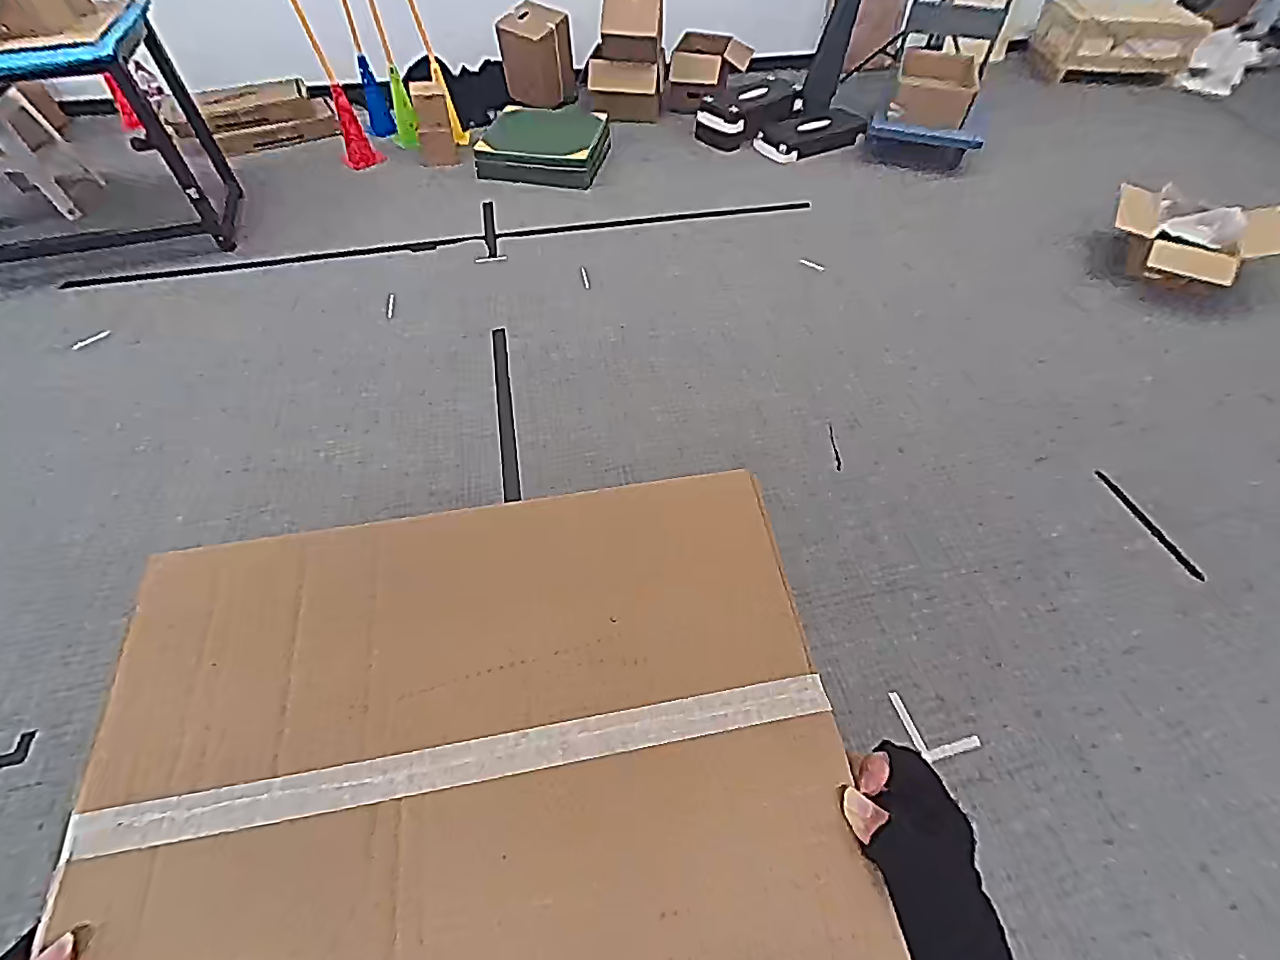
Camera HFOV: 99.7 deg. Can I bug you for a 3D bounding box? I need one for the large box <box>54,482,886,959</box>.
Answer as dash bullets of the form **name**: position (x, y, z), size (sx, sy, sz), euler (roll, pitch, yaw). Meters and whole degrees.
- **large box**: position (-0.096, 0.234, 0.437), size (0.408, 0.320, 0.320), euler (-8, 60, -6)
